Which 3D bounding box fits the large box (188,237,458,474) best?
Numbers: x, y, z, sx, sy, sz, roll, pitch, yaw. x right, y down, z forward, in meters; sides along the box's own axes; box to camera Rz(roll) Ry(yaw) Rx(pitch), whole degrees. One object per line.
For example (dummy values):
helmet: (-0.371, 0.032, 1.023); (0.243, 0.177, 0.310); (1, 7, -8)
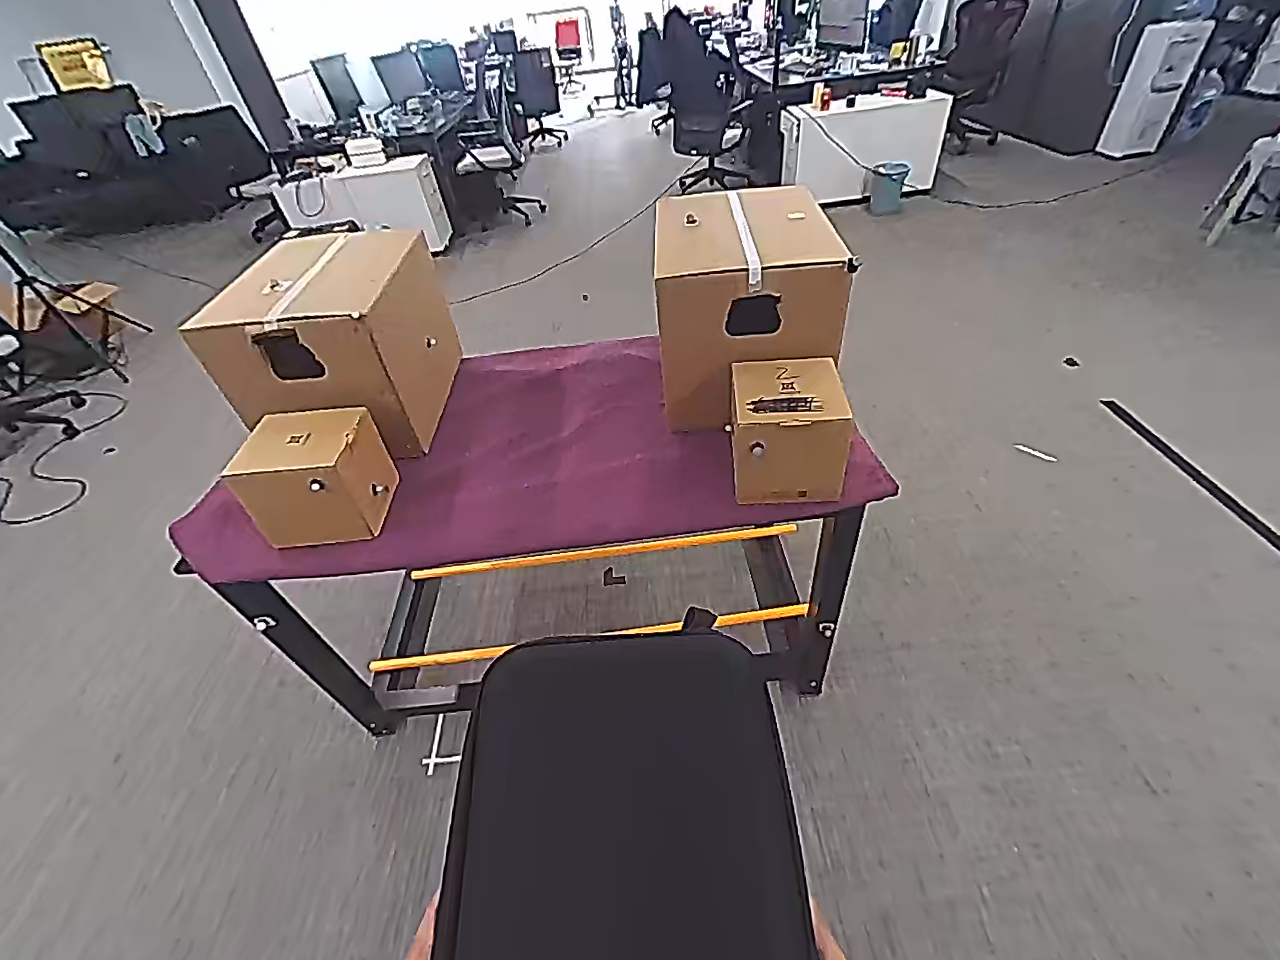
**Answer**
large box: (-0.603, -0.268, 1.136); (0.320, 0.320, 0.408); (-6, 45, 1)
